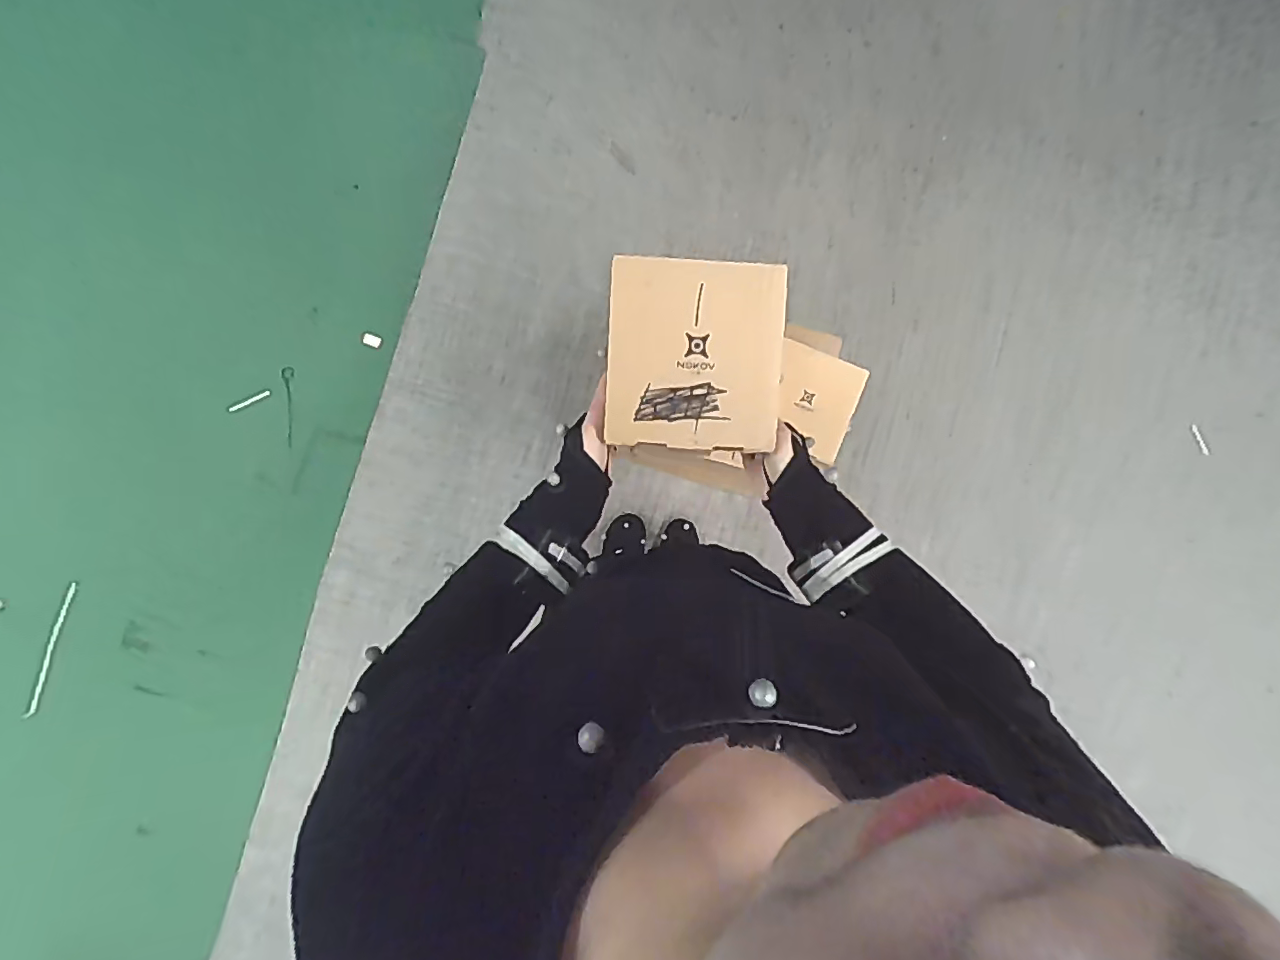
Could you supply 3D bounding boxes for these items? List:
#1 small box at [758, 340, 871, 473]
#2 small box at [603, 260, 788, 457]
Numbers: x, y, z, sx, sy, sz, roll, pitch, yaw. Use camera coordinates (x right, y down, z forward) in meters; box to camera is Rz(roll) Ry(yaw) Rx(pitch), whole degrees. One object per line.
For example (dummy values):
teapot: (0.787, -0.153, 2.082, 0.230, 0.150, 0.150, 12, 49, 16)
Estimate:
small box: (0.284, -0.123, 0.985, 0.168, 0.176, 0.179, 22, 87, 2)
small box: (0.051, -0.118, 0.581, 0.168, 0.176, 0.179, 2, 93, -1)
